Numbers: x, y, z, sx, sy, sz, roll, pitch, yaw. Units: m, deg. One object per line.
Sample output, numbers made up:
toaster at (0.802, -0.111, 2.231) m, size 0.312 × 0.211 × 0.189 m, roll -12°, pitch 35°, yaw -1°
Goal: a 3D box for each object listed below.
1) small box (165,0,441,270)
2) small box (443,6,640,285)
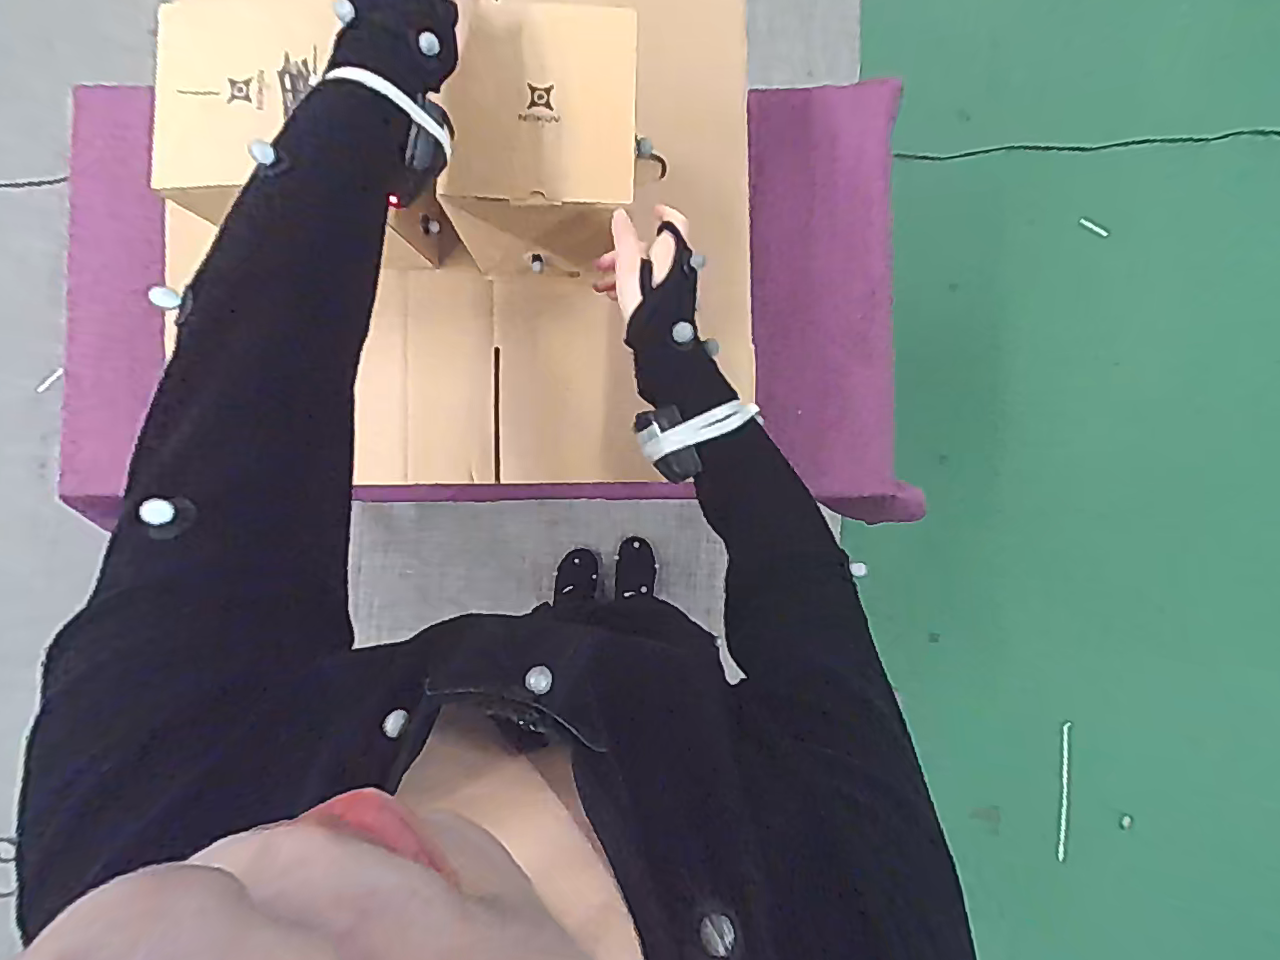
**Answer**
small box at (-0.318, -0.324, 0.544) m, size 0.179 × 0.176 × 0.168 m, roll 1°, pitch 89°, yaw 6°
small box at (-0.088, -0.318, 0.547) m, size 0.168 × 0.176 × 0.179 m, roll 1°, pitch 89°, yaw -2°
